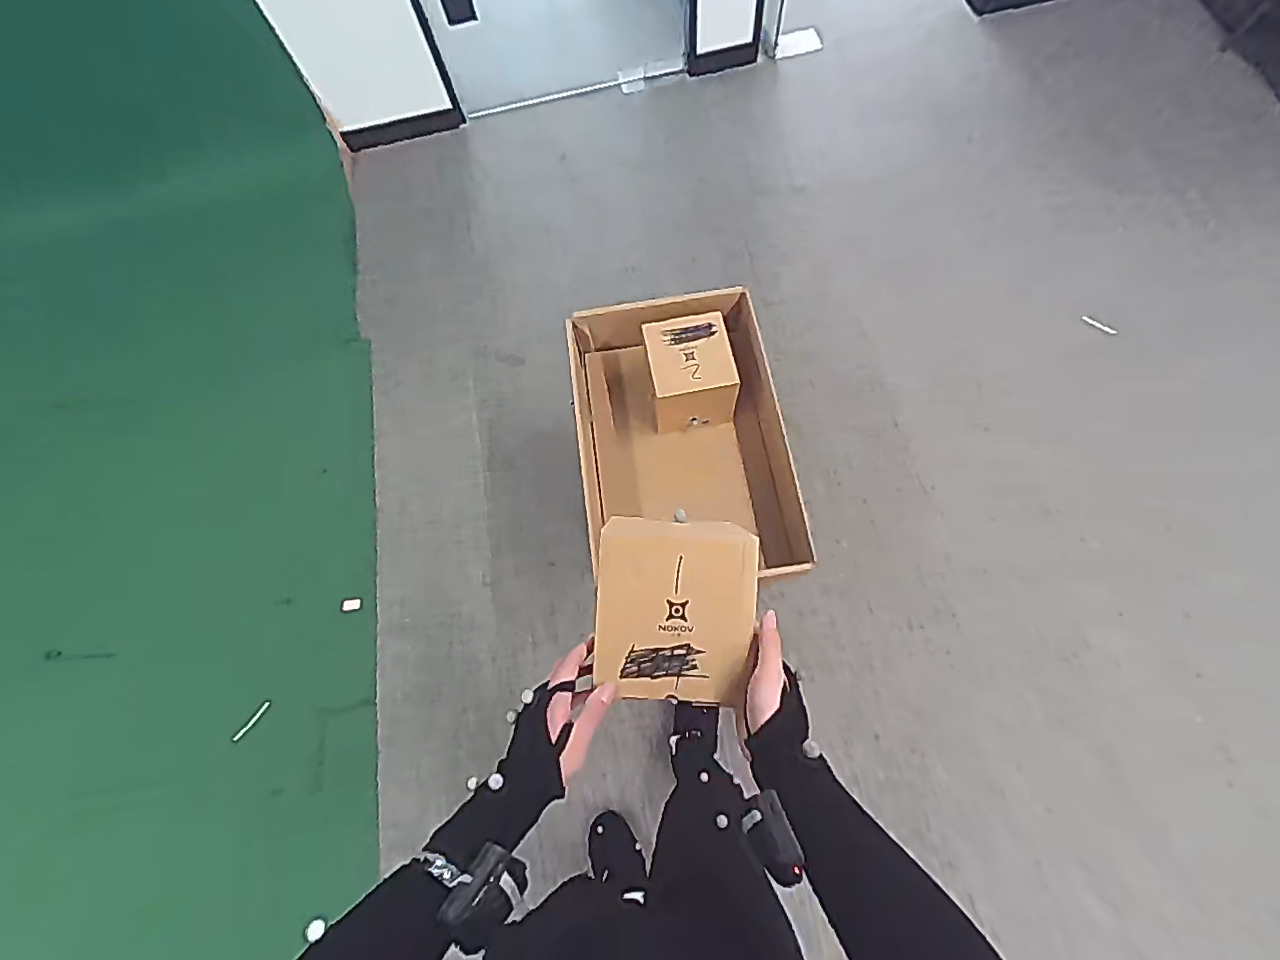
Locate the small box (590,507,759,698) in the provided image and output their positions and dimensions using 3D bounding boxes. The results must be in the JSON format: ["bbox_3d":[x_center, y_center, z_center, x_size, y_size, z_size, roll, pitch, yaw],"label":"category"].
[{"bbox_3d":[0.037,0.130,0.631,0.168,0.176,0.179,3,91,0],"label":"small box"}]
